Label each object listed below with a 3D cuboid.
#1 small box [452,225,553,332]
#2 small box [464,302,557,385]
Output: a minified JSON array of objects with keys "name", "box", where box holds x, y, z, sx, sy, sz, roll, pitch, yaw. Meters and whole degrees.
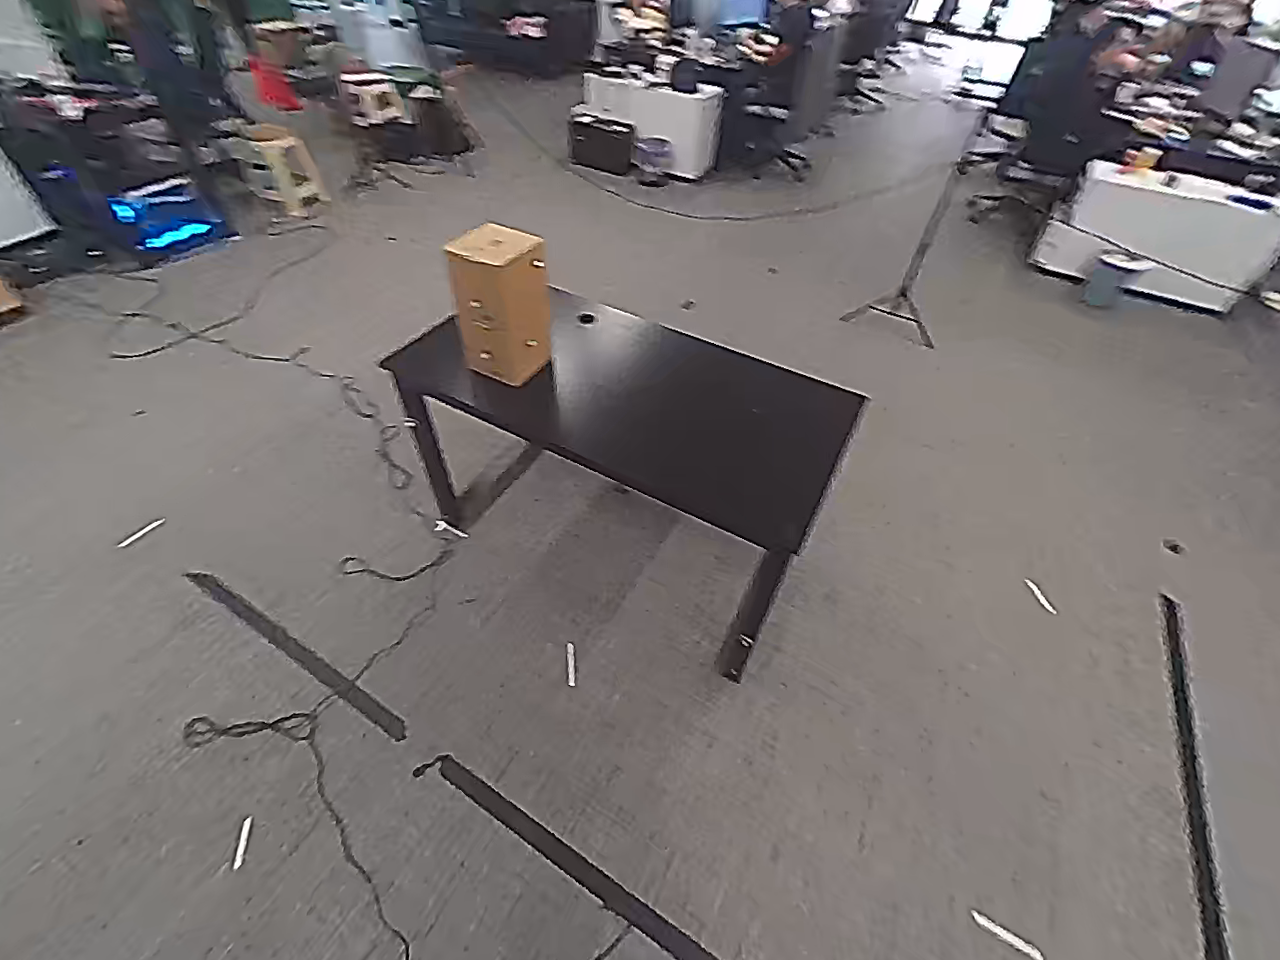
[{"name":"small box","box":[-0.326,-0.493,1.324,0.168,0.176,0.179,23,50,18]},{"name":"small box","box":[-0.335,-0.381,1.445,0.168,0.176,0.179,23,51,17]}]
